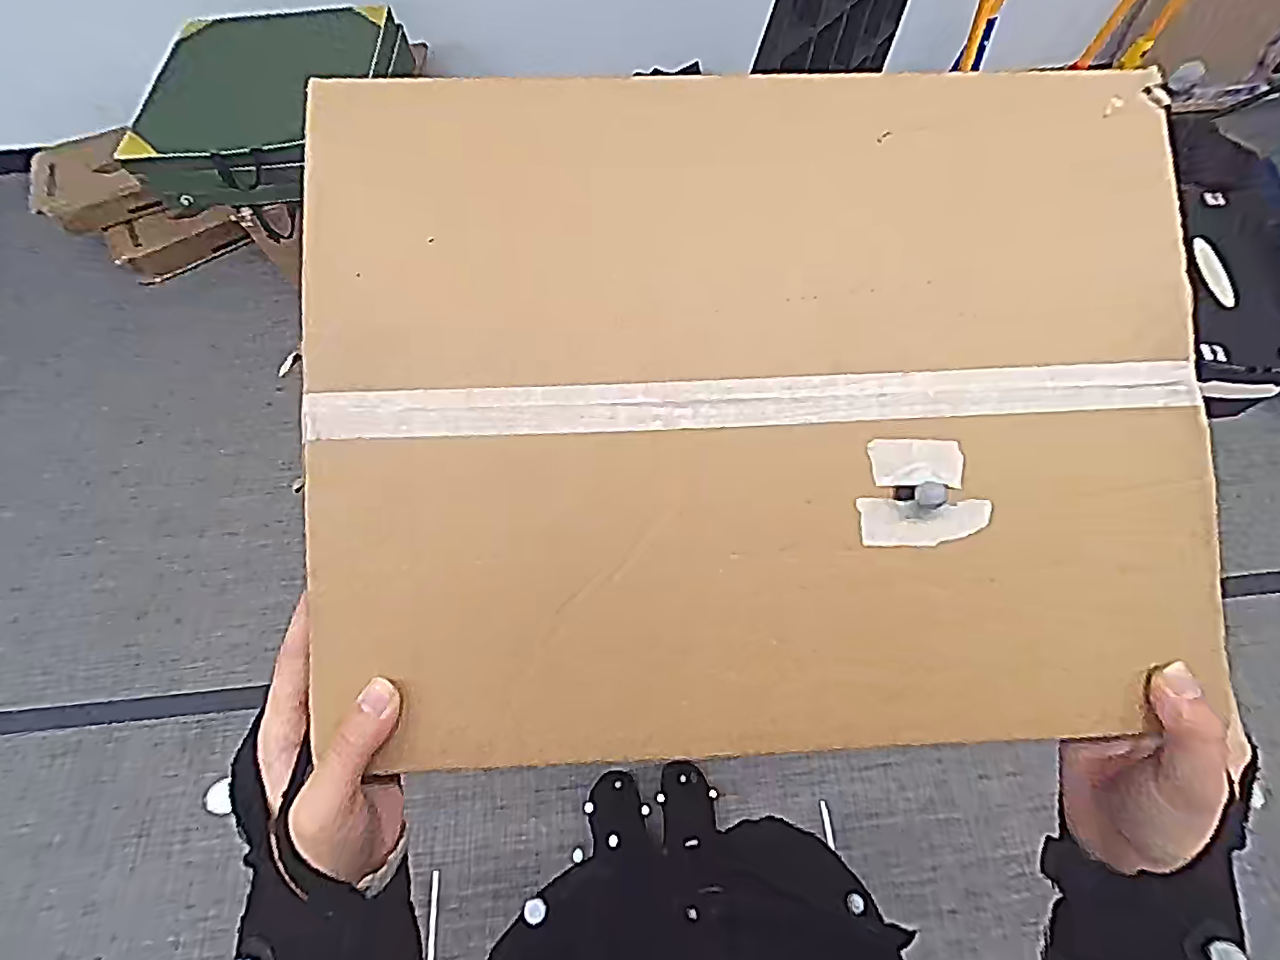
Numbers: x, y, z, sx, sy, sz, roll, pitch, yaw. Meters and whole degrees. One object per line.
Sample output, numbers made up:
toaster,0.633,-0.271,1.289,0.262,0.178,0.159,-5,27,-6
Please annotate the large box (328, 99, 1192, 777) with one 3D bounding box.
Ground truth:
large box,0.049,-0.021,0.404,0.408,0.320,0.320,-2,87,-3
